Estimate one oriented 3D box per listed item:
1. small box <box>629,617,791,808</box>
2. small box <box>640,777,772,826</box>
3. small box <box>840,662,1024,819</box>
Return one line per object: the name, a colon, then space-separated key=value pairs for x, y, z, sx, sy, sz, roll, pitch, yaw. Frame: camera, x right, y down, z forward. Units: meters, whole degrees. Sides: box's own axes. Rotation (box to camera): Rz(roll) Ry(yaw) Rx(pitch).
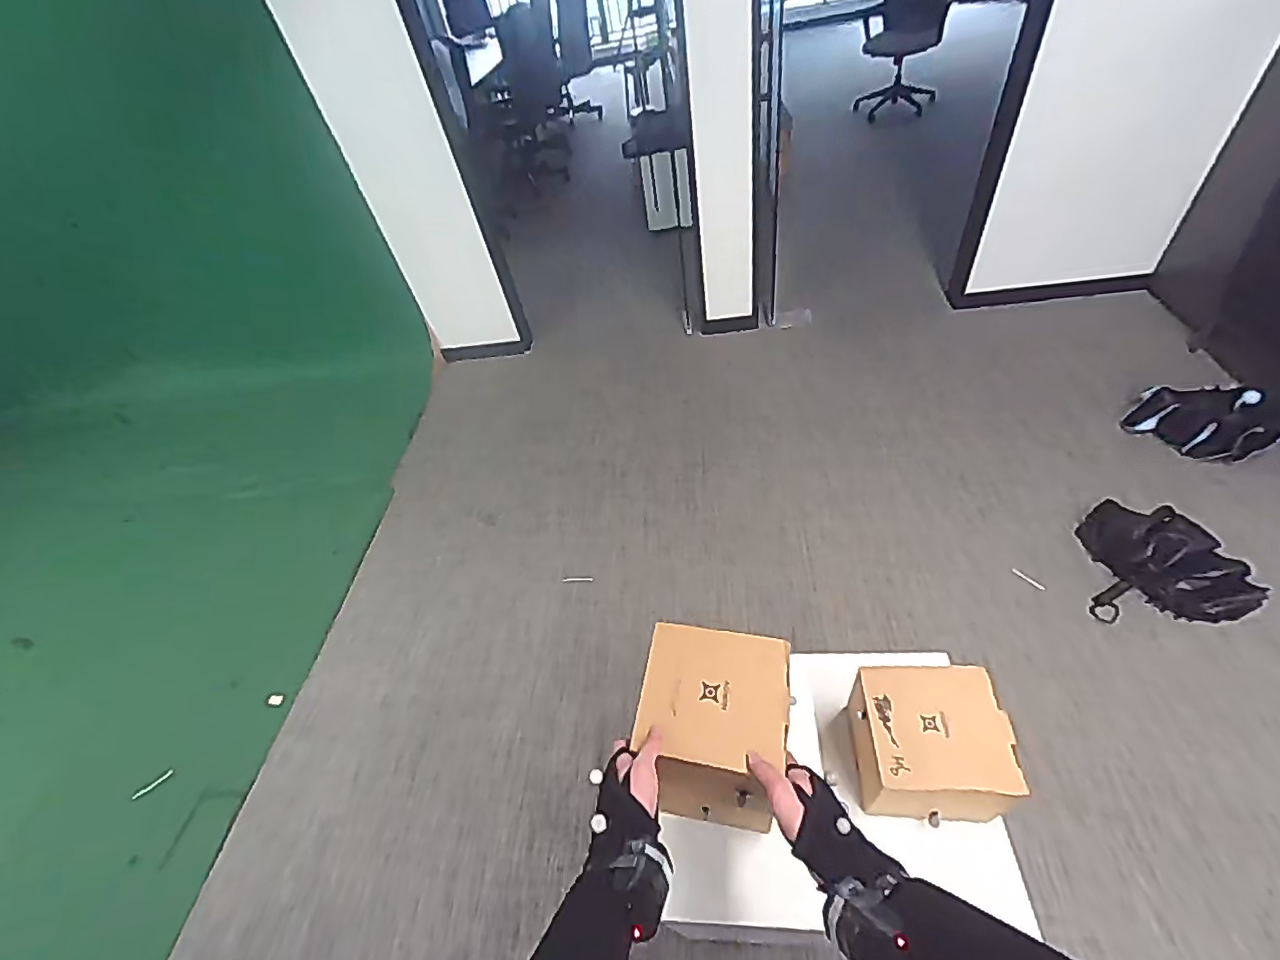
small box: x=0.094 y=0.300 z=0.692 sx=0.179 sy=0.176 sz=0.168 roll=4 pitch=46 yaw=12
small box: x=0.108 y=0.403 z=0.817 sx=0.179 sy=0.176 sz=0.168 roll=4 pitch=48 yaw=12
small box: x=0.406 y=0.382 z=0.789 sx=0.179 sy=0.176 sz=0.168 roll=-1 pitch=47 yaw=8
